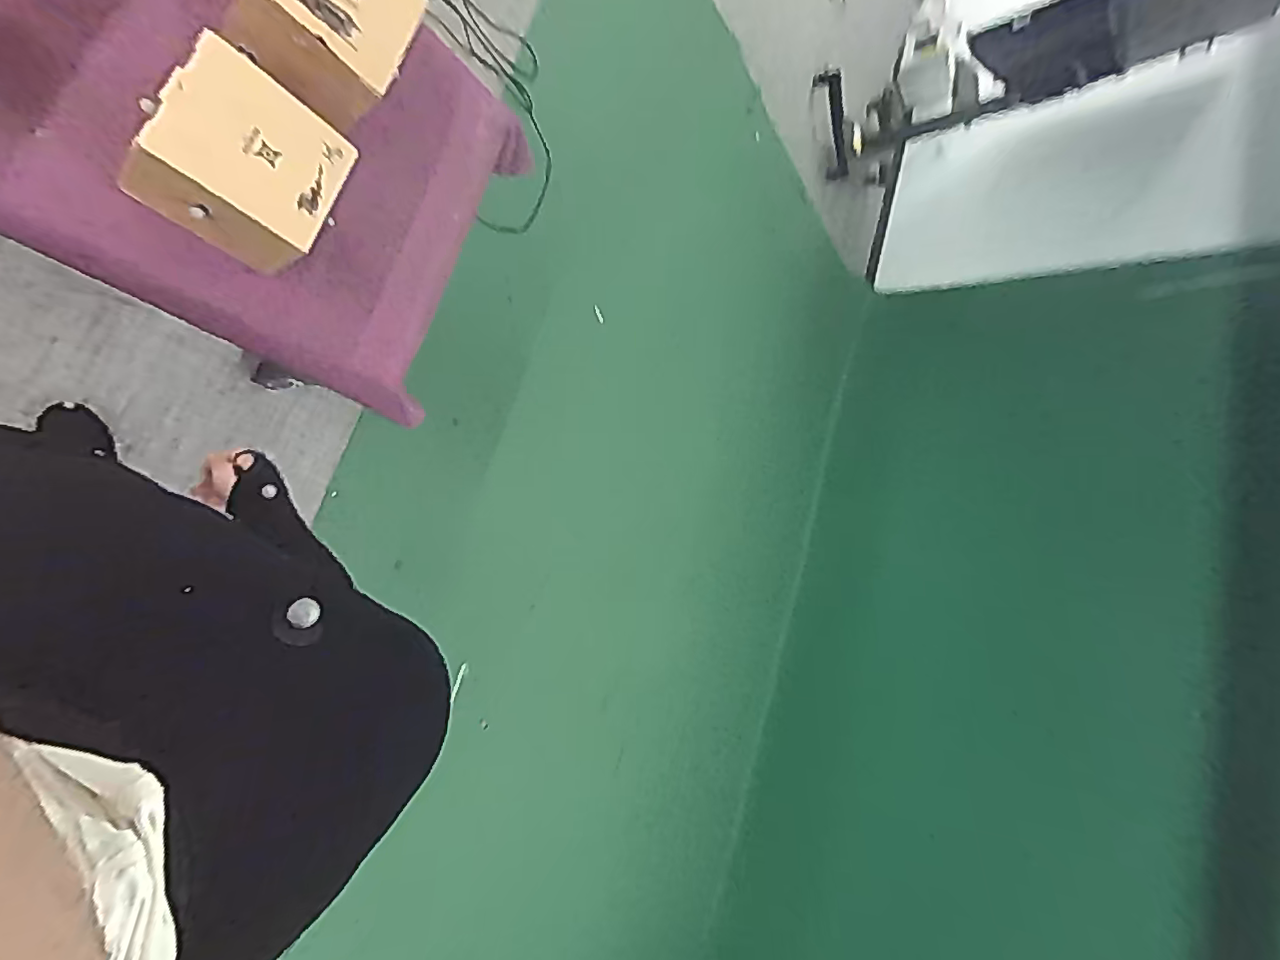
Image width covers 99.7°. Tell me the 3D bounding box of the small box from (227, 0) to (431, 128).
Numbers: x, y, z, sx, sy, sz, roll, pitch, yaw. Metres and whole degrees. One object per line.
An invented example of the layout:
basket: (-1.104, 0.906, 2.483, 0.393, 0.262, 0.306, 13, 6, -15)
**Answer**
small box: (-0.423, -0.628, 0.732, 0.168, 0.176, 0.179, 30, 73, -46)

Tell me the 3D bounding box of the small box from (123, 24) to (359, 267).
small box: (-0.500, -0.395, 0.679, 0.179, 0.176, 0.168, 32, 71, -45)
